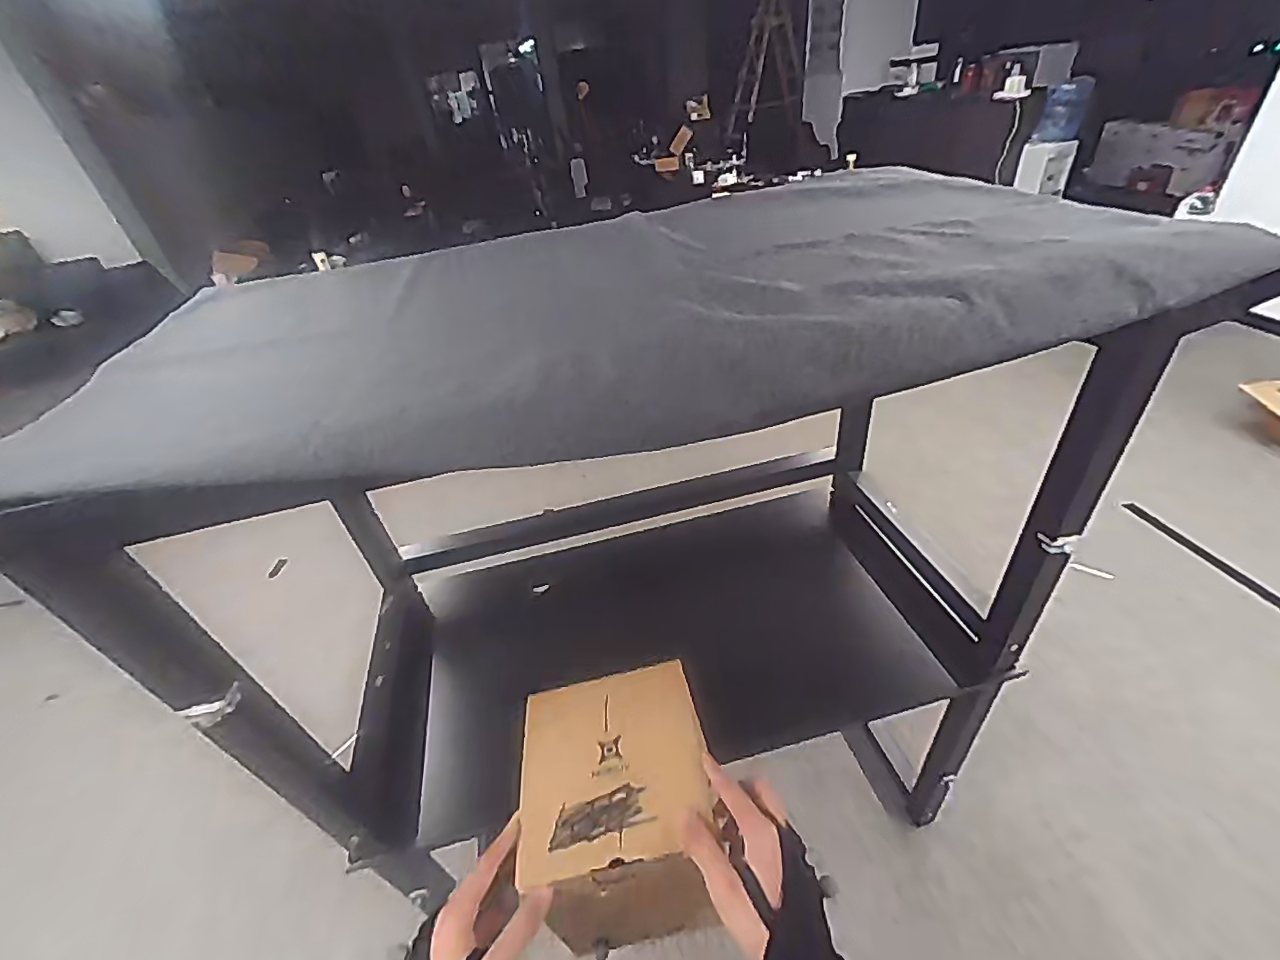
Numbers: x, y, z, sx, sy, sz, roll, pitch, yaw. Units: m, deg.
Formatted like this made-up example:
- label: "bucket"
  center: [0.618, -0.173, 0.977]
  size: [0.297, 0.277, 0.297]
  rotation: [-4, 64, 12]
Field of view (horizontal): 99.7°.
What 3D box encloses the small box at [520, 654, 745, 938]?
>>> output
- label: "small box"
  center: [-0.005, 0.307, 0.525]
  size: [0.168, 0.176, 0.179]
  rotation: [-15, 34, 2]
